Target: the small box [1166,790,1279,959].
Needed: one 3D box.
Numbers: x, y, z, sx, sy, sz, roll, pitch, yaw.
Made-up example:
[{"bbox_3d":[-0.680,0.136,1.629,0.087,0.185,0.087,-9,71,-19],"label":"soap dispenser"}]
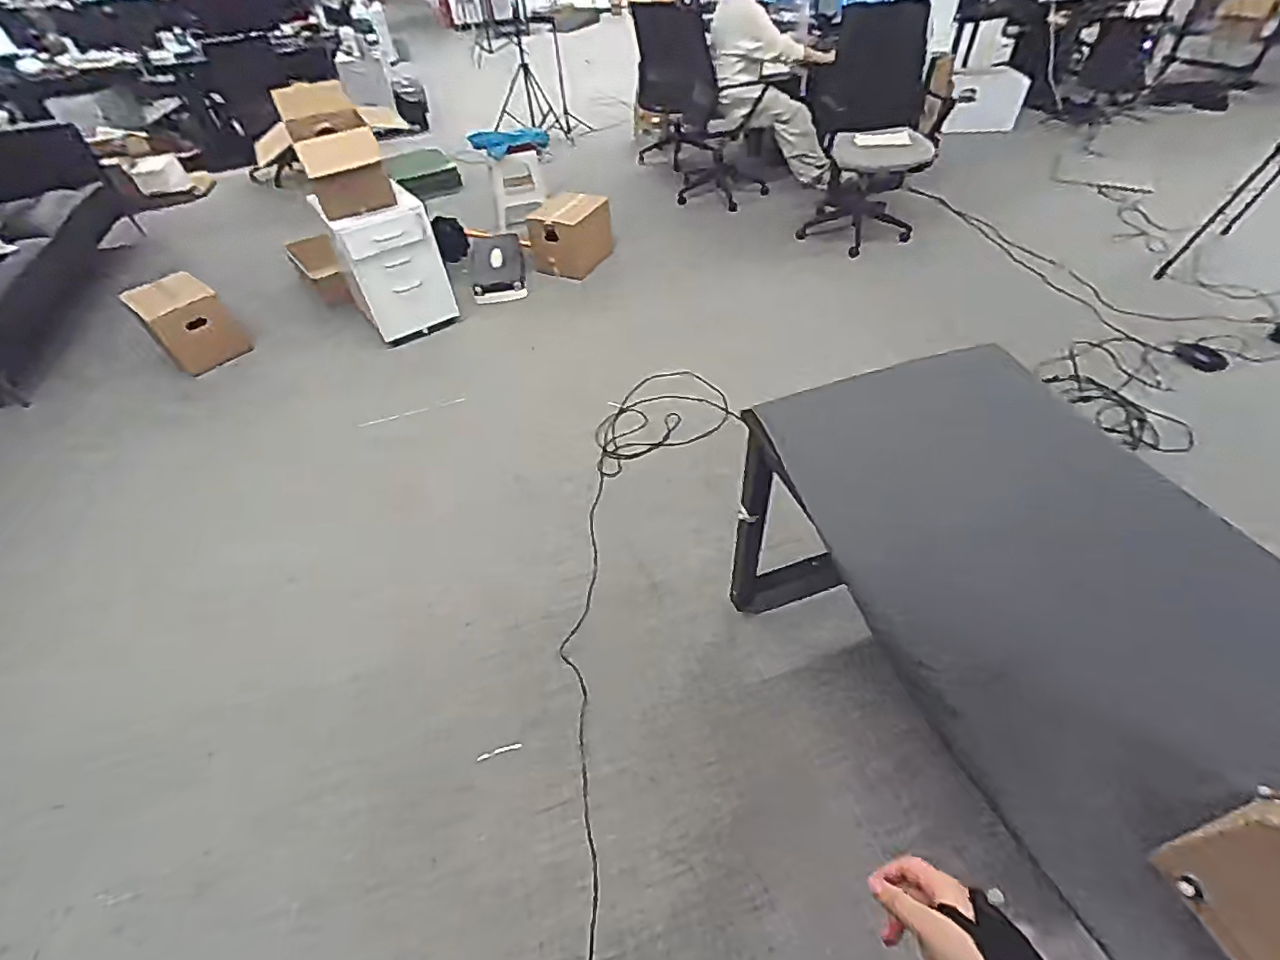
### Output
[{"bbox_3d":[0.659,0.387,0.499,0.179,0.176,0.168,-13,46,-12],"label":"small box"}]
